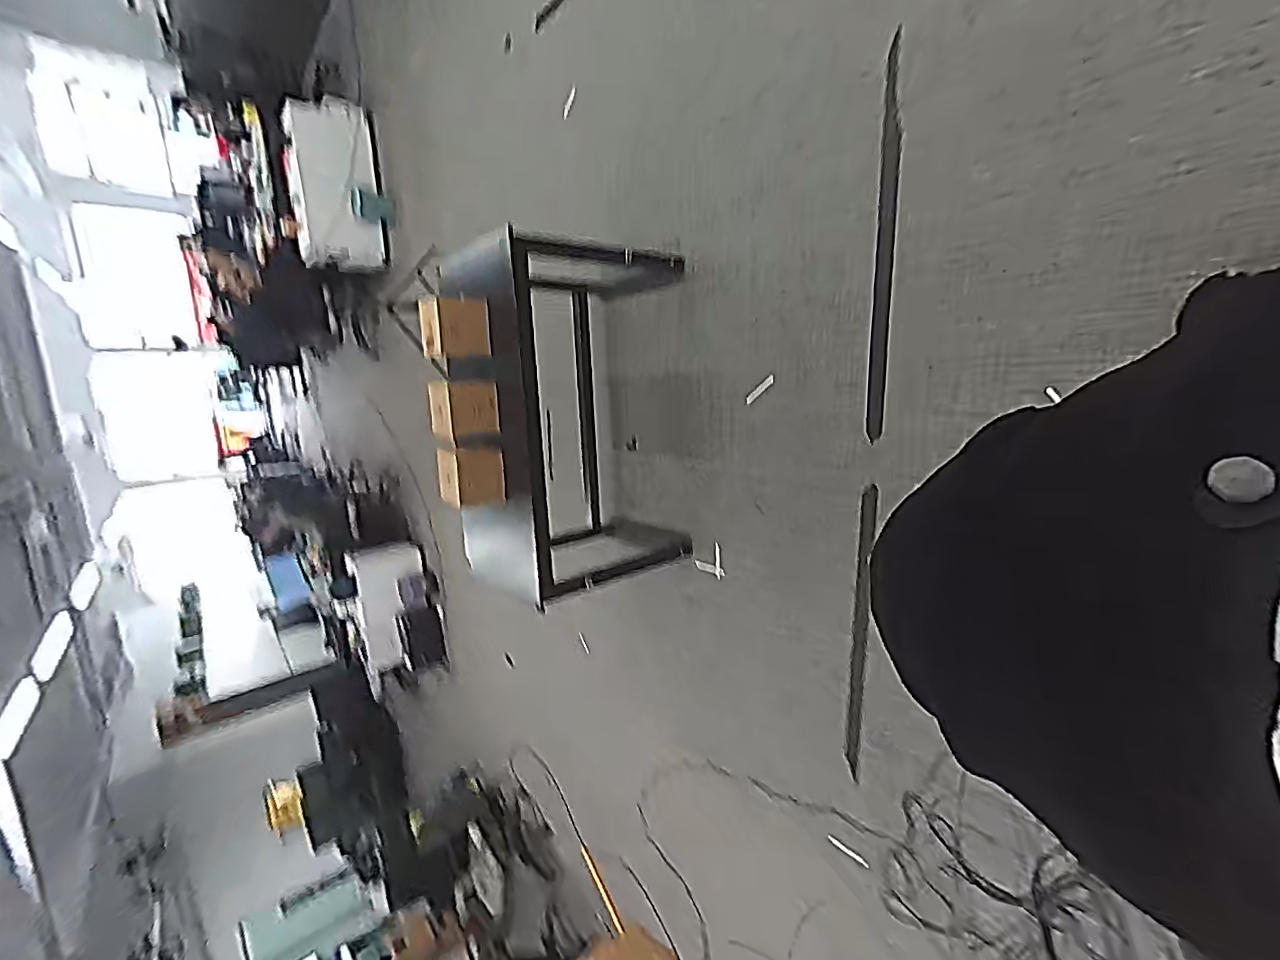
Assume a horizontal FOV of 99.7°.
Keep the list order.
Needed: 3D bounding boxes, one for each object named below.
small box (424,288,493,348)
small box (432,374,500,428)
[{"bbox_3d":[-0.592,-0.527,1.773,0.168,0.176,0.179,14,109,49],"label":"small box"},{"bbox_3d":[-0.579,-0.270,1.818,0.179,0.176,0.168,14,108,49],"label":"small box"}]
